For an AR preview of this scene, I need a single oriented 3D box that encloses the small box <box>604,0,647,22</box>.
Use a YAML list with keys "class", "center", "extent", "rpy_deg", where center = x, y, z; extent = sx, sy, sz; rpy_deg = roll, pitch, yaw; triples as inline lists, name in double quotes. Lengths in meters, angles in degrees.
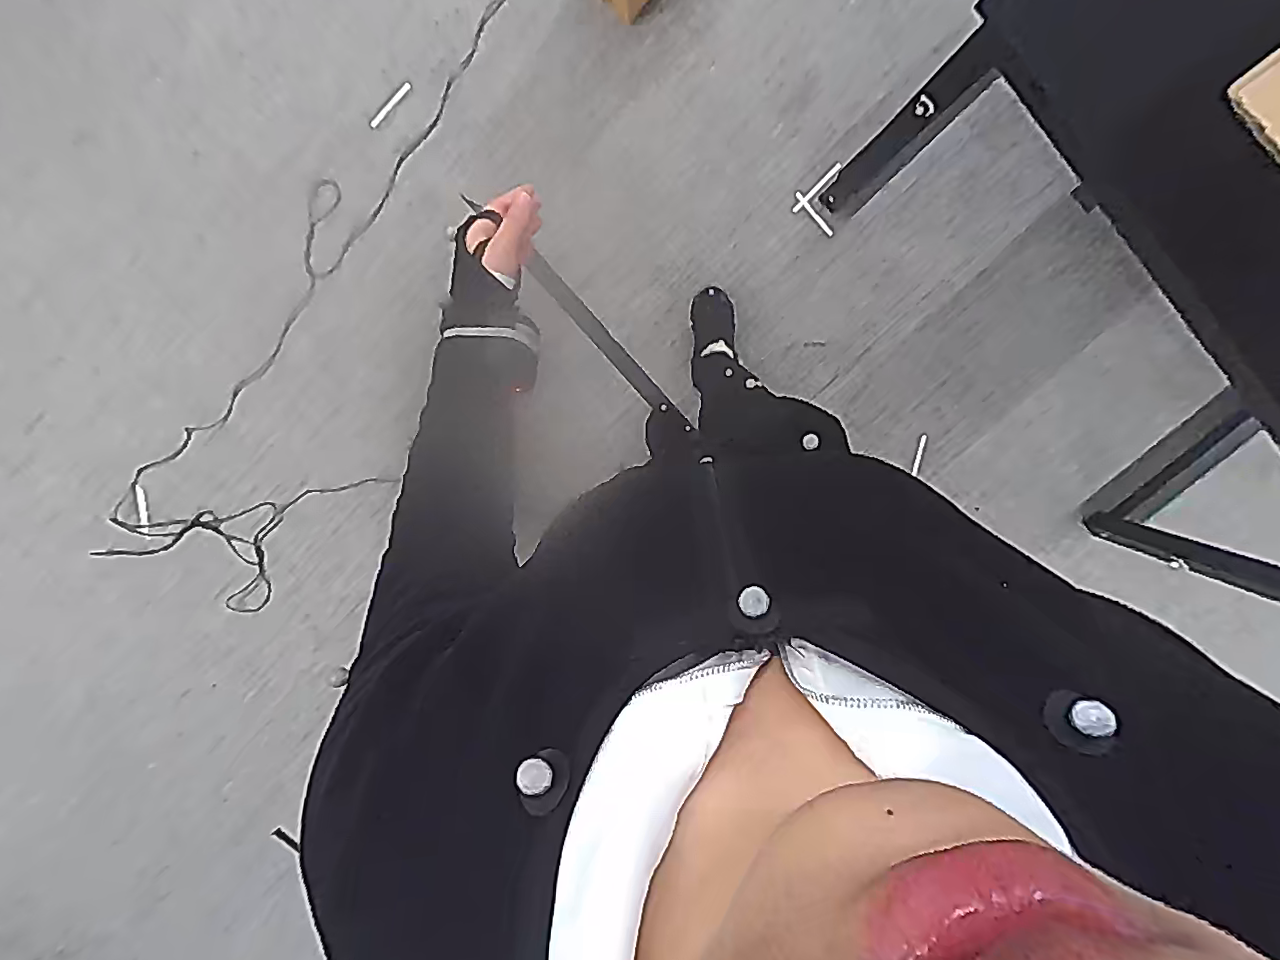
- class: "small box"
  center: [-0.031, -1.183, 1.185]
  extent: [0.168, 0.176, 0.179]
  rpy_deg: [43, 100, -6]
